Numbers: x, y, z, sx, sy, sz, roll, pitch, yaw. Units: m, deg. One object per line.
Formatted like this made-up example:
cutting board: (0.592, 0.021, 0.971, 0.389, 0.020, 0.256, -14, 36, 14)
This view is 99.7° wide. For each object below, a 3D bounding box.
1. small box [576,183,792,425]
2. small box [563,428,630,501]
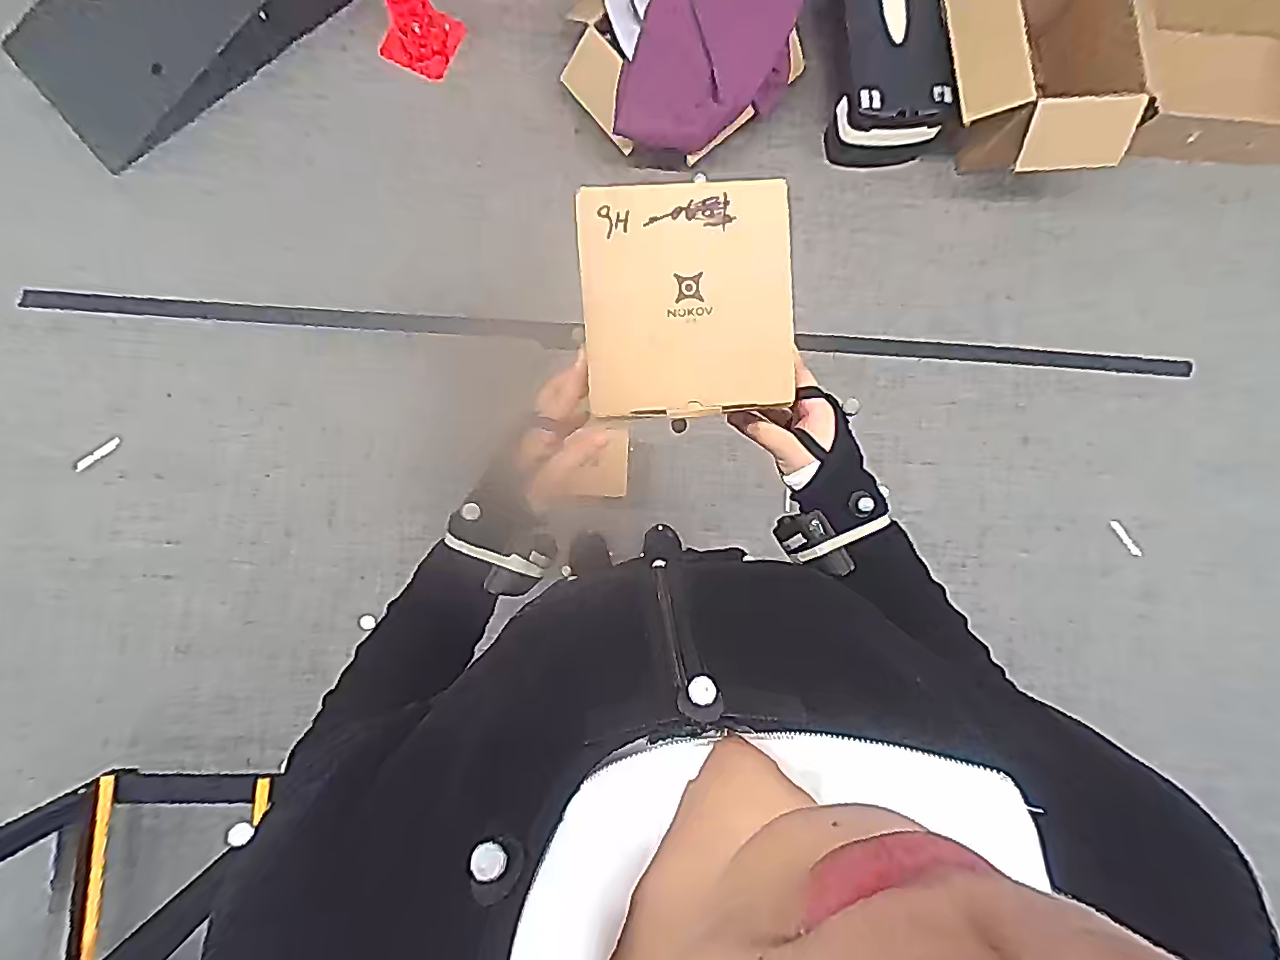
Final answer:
small box: (0.033, -0.145, 0.497, 0.168, 0.176, 0.179, -4, 97, -3)
small box: (-0.114, -0.037, 1.437, 0.168, 0.176, 0.179, 2, 87, -2)
